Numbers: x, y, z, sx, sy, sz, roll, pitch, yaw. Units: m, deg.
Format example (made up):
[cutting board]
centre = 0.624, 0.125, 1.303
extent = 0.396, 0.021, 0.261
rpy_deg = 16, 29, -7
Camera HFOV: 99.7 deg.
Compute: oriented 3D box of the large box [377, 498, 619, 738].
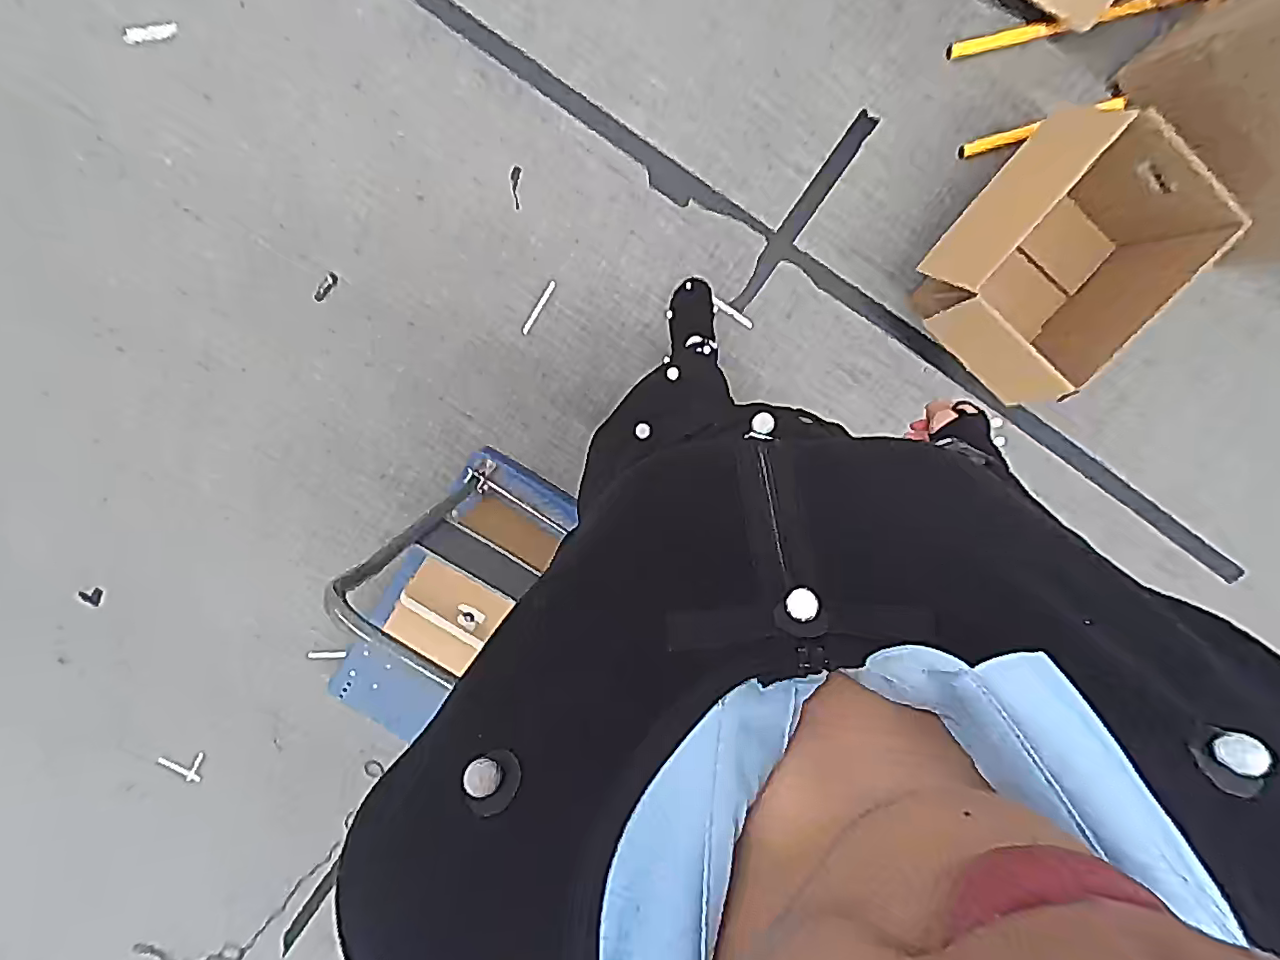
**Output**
[large box]
centre = -0.304, 0.305, 1.274
extent = 0.408, 0.320, 0.320
rpy_deg = 35, 103, -6
